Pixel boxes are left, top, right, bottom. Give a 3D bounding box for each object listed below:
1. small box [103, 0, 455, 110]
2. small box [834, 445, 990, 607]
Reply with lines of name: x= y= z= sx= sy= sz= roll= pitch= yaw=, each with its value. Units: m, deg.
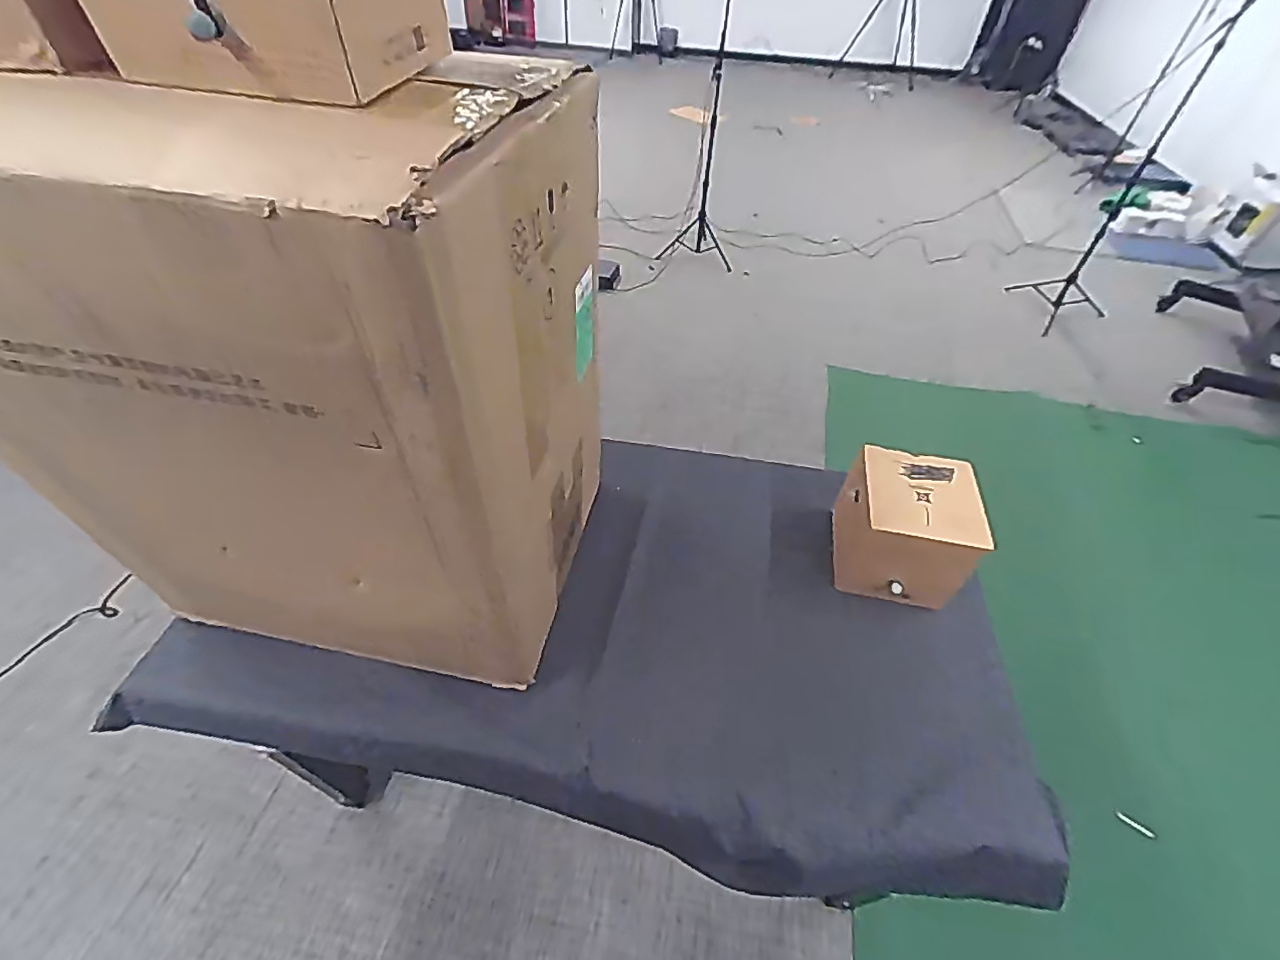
small box: x=-0.245 y=-0.373 z=0.365 sx=0.179 sy=0.176 sz=0.168 roll=9 pitch=49 yaw=3
small box: x=0.417 y=0.074 z=0.867 sx=0.168 sy=0.176 sz=0.179 roll=10 pitch=48 yaw=7
